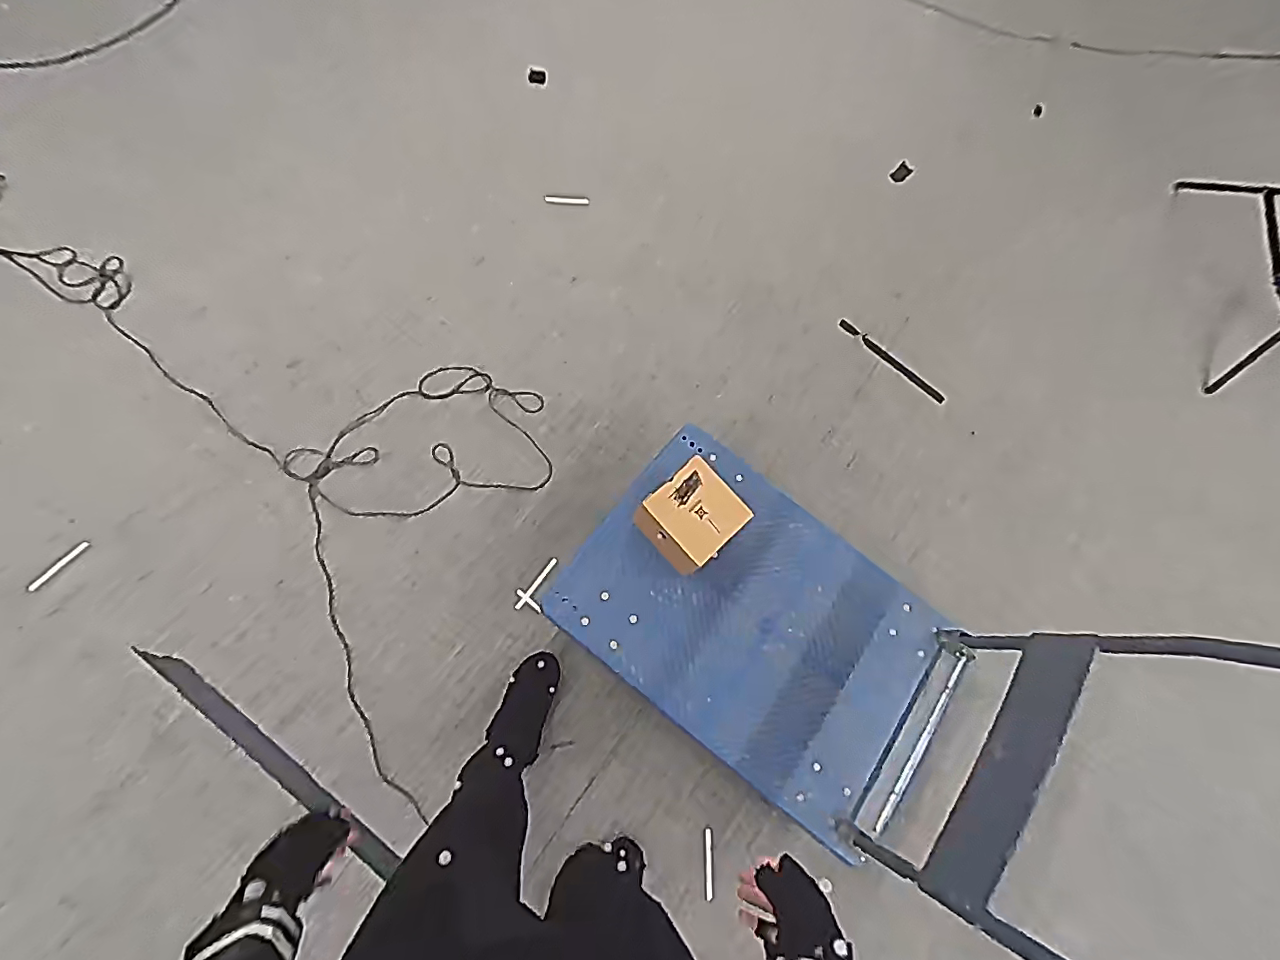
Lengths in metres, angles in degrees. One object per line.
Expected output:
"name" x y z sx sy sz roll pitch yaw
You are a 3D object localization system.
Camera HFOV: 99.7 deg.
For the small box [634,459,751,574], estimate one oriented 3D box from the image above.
"small box" 0.105 0.088 1.185 0.168 0.176 0.179 -40 84 -17
